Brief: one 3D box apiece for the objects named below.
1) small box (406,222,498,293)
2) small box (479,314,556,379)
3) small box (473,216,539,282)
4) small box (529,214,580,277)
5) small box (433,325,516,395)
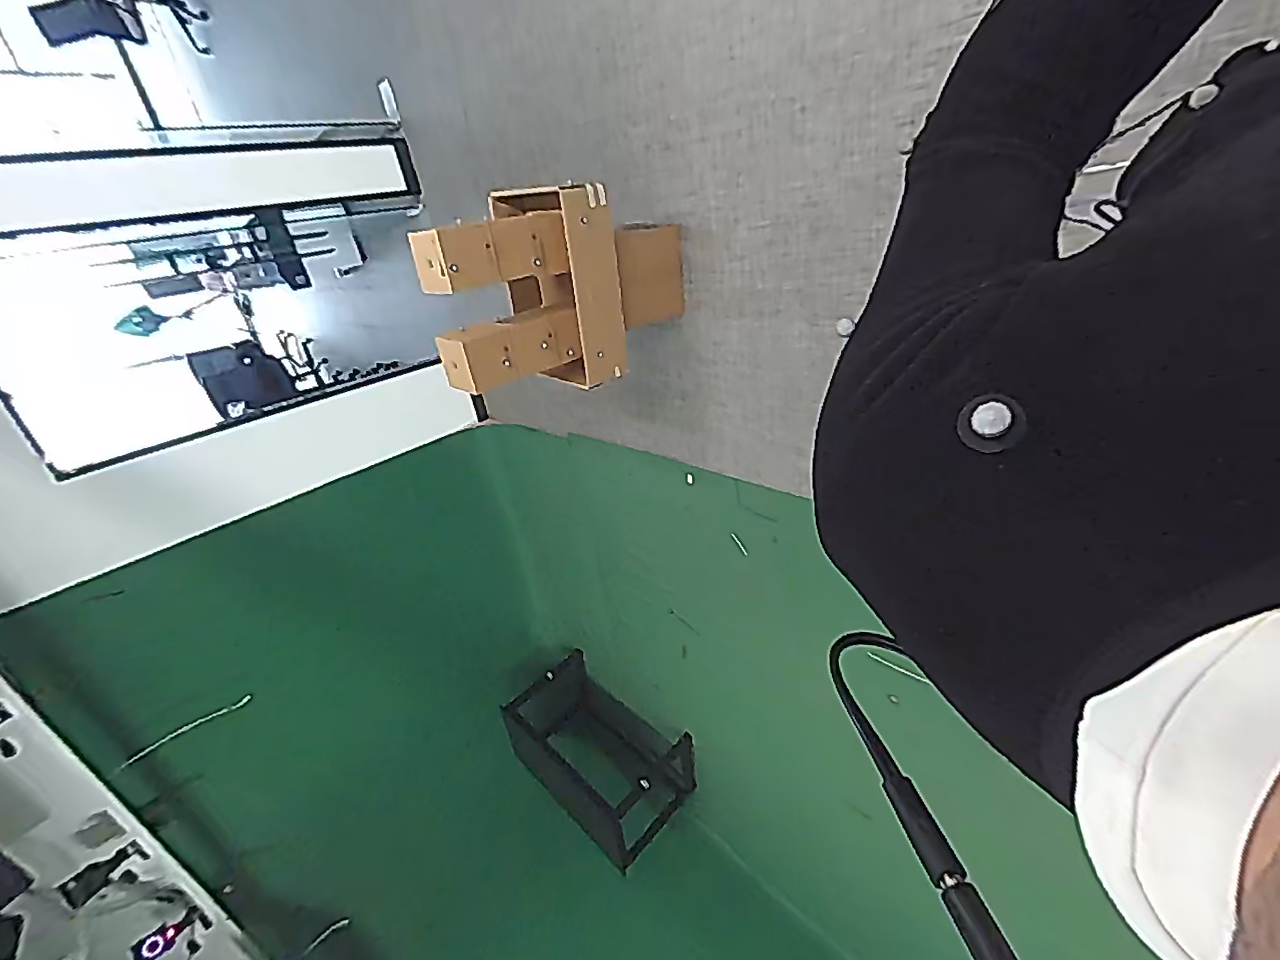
[{"bbox_3d":[-0.536,-0.638,1.550,0.179,0.176,0.168,19,127,41],"label":"small box"},{"bbox_3d":[-0.404,-0.449,1.796,0.179,0.176,0.168,20,128,41],"label":"small box"},{"bbox_3d":[-0.426,-0.706,1.652,0.179,0.176,0.168,19,127,41],"label":"small box"},{"bbox_3d":[-0.316,-0.767,1.758,0.179,0.176,0.168,23,129,38],"label":"small box"},{"bbox_3d":[-0.517,-0.384,1.697,0.179,0.176,0.168,21,129,41],"label":"small box"}]
